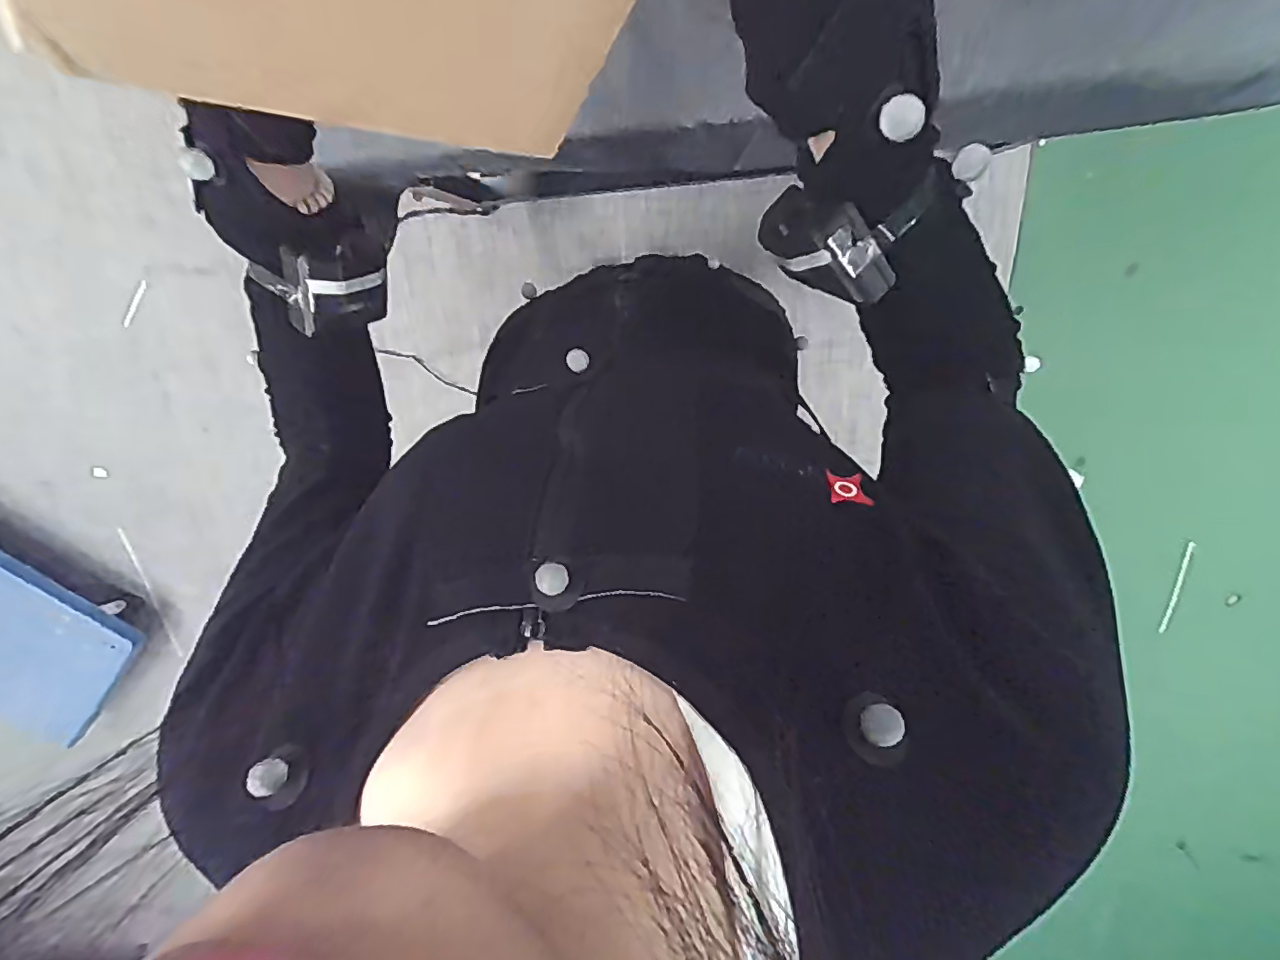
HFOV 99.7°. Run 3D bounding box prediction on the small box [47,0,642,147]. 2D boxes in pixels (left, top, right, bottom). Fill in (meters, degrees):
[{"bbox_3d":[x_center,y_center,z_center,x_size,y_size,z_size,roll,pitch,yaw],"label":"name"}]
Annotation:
[{"bbox_3d":[-0.087,-0.241,0.155,0.168,0.179,0.176,-38,79,45],"label":"small box"}]
